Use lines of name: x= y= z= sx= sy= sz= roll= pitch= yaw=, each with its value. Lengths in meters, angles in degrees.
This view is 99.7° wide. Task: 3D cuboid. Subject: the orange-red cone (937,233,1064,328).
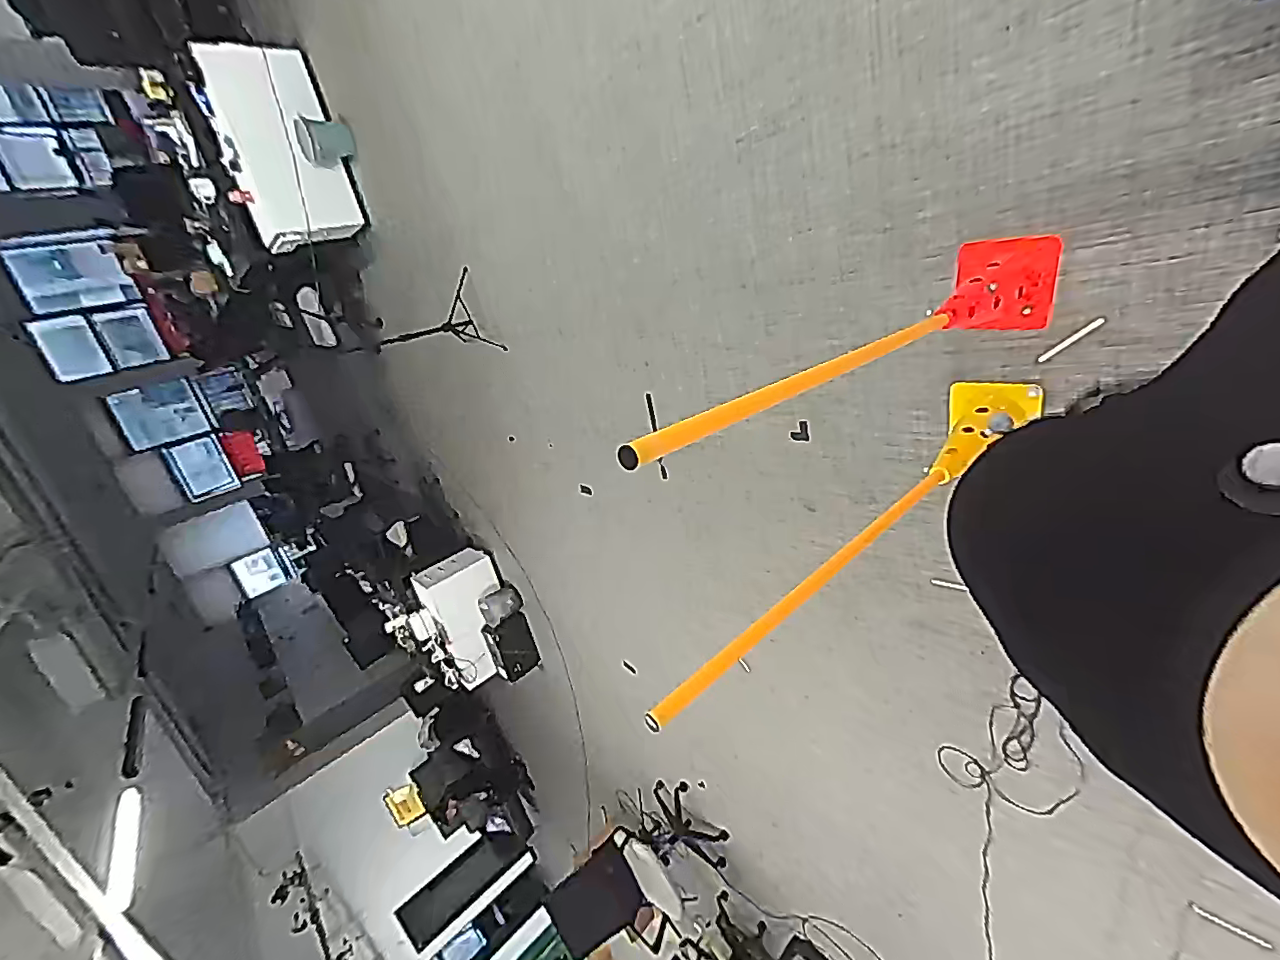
orange-red cone: x=0.706 y=-0.384 z=1.126 sx=0.198 sy=0.360 sz=0.199 roll=18 pitch=125 yaw=44
